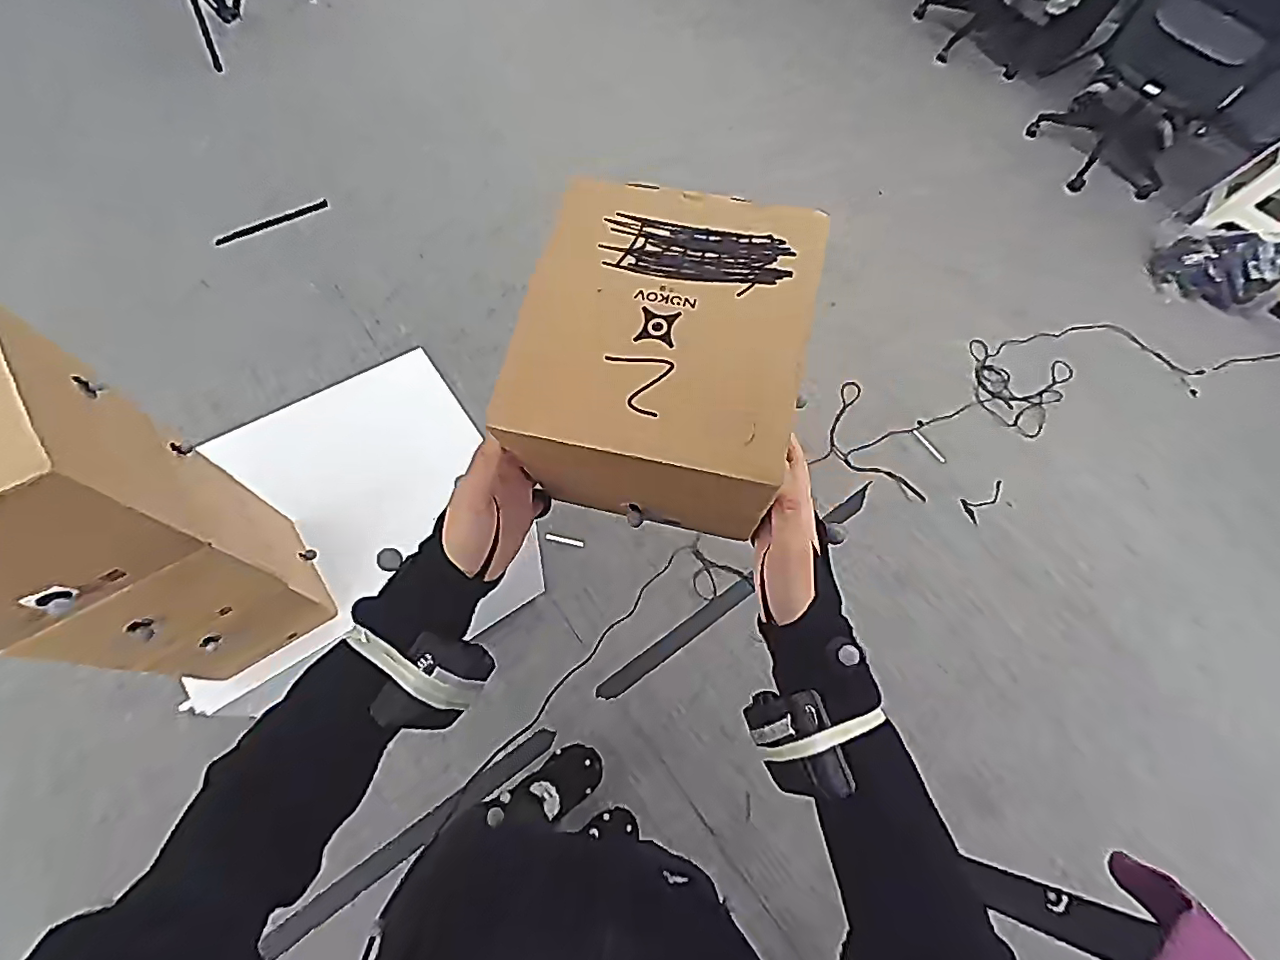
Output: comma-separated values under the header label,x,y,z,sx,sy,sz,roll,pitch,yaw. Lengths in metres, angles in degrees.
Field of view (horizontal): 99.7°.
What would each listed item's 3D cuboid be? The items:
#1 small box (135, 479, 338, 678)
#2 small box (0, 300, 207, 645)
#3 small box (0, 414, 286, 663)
label,x,y,z,sx,sy,sz,roll,pitch,yaw
small box,-0.535,0.135,0.706,0.168,0.176,0.179,-32,73,-20
small box,-0.491,0.003,0.412,0.168,0.176,0.179,-34,75,-19
small box,-0.512,0.071,0.558,0.168,0.176,0.179,-33,74,-20
